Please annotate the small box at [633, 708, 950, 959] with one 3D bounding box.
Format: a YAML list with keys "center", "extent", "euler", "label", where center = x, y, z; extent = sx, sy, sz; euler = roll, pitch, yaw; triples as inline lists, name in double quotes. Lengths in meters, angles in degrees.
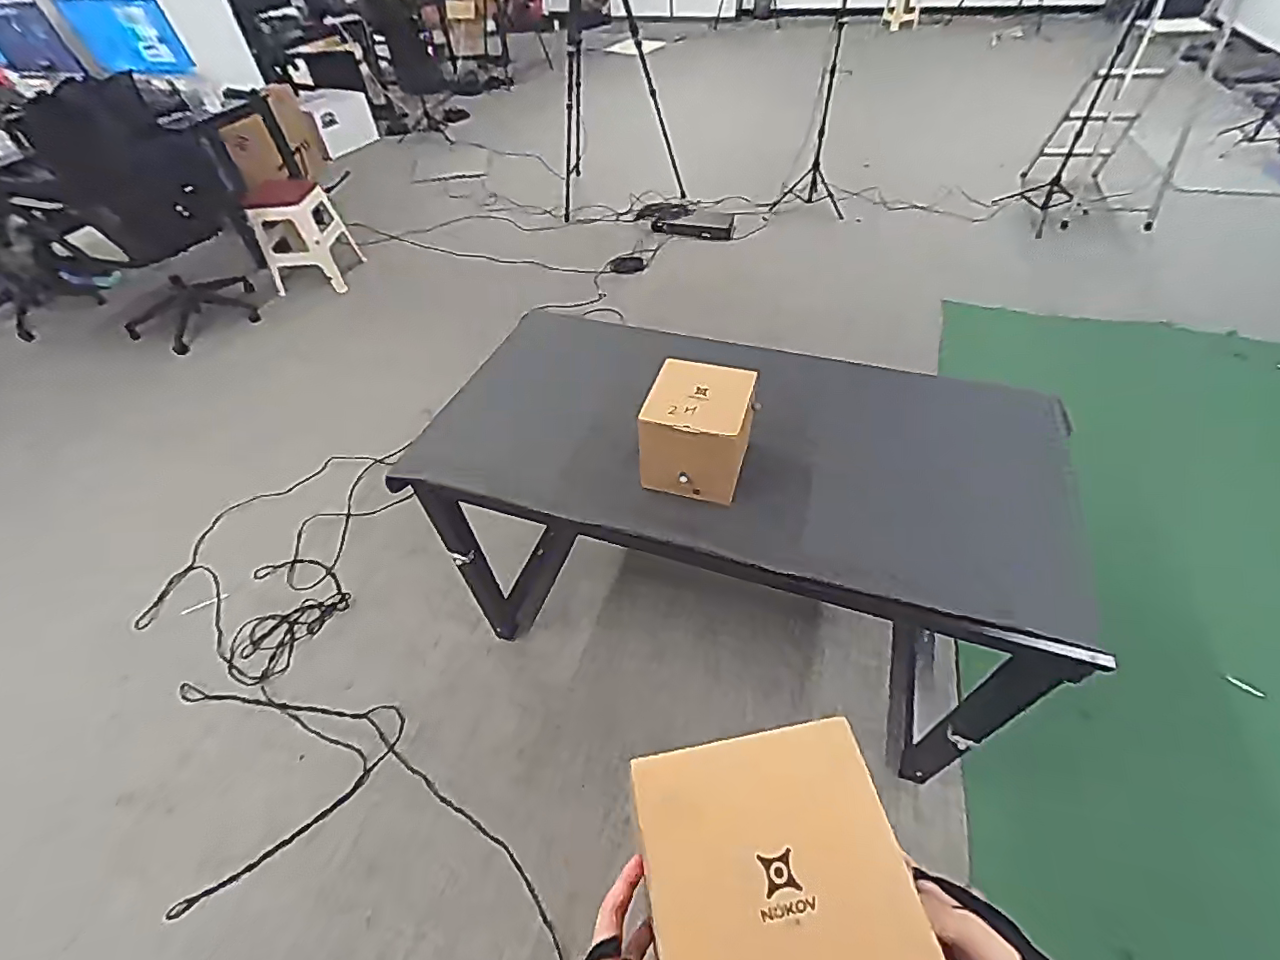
- center: [0.087, 0.297, 0.398]
  extent: [0.168, 0.176, 0.179]
  euler: [-9, 50, -7]
  label: "small box"

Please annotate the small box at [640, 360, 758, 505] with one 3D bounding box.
- center: [0.105, -0.084, 0.960]
  extent: [0.168, 0.176, 0.179]
  euler: [12, 49, 15]
  label: "small box"
